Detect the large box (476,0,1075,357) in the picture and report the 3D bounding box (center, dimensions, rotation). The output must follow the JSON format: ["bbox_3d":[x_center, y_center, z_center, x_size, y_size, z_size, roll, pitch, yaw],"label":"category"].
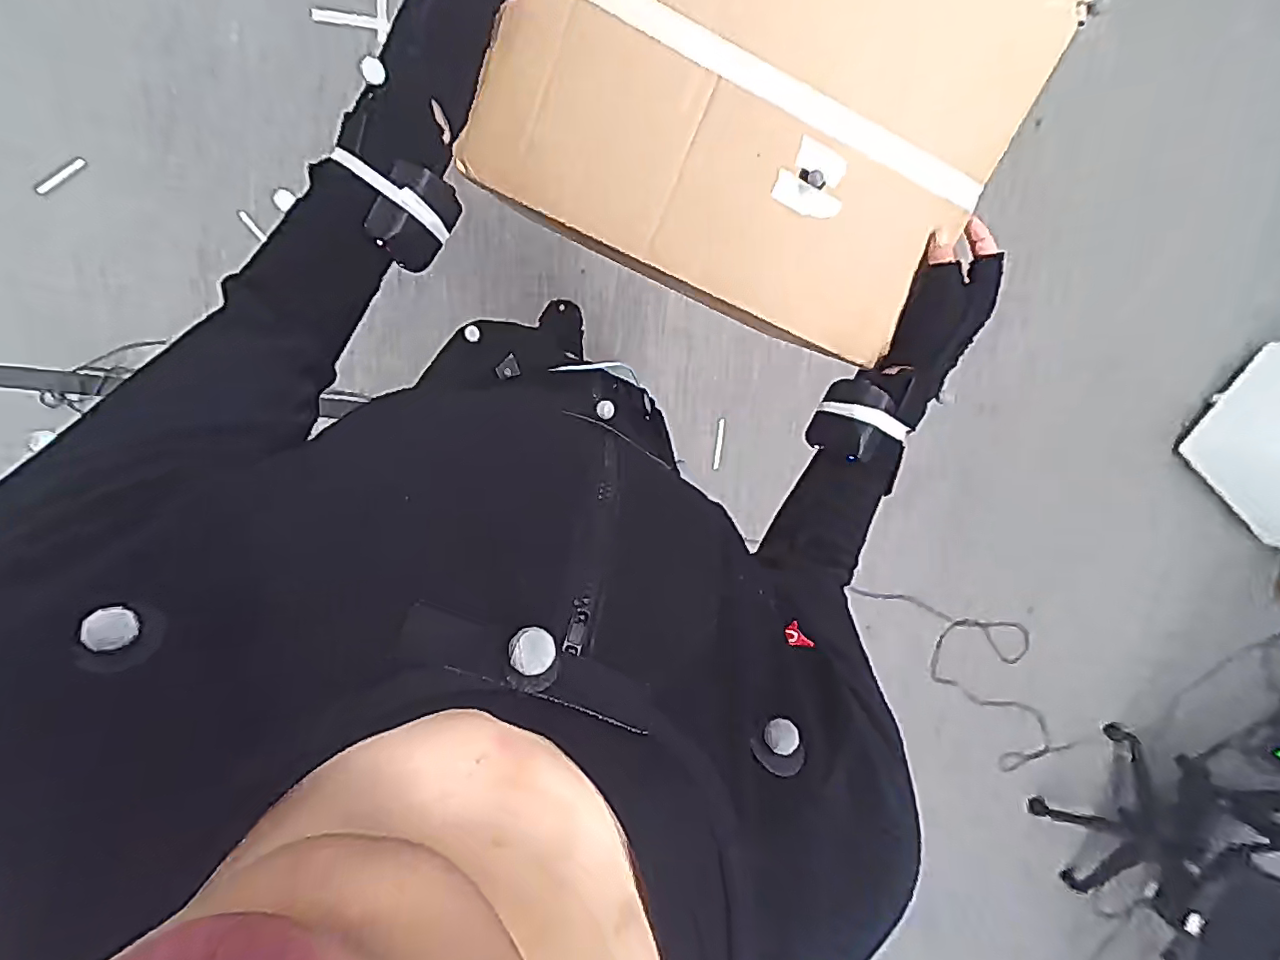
[{"bbox_3d":[0.093,-0.368,0.571,0.408,0.320,0.320,22,109,-11],"label":"large box"}]
